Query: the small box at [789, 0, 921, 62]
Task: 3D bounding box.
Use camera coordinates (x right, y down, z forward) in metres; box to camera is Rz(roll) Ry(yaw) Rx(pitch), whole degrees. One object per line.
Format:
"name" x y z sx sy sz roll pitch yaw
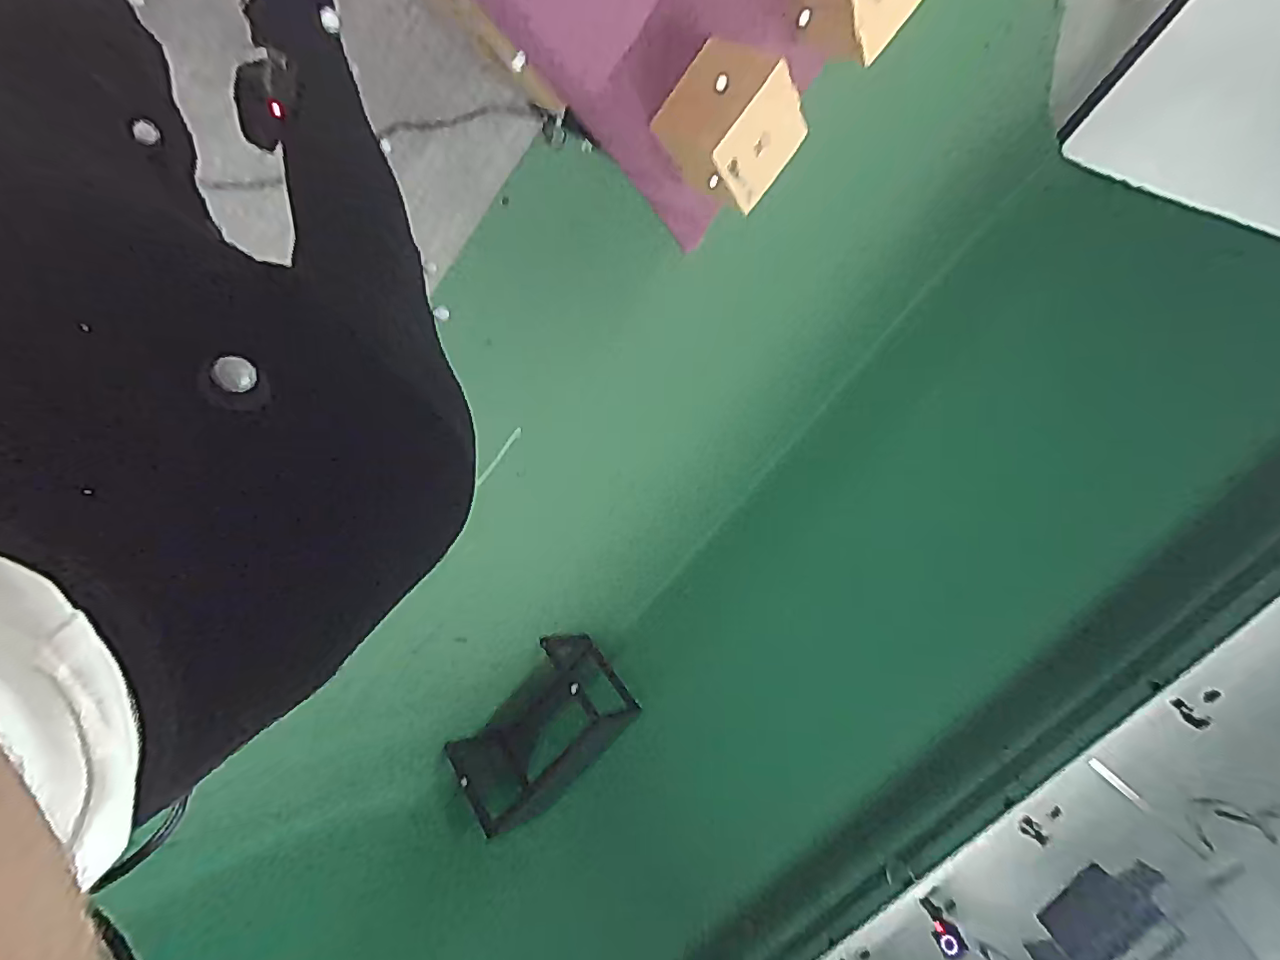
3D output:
"small box" 0.365 -0.857 0.896 0.179 0.176 0.168 -49 148 13

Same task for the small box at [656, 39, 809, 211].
"small box" 0.161 -0.624 0.953 0.179 0.176 0.168 -52 148 10
